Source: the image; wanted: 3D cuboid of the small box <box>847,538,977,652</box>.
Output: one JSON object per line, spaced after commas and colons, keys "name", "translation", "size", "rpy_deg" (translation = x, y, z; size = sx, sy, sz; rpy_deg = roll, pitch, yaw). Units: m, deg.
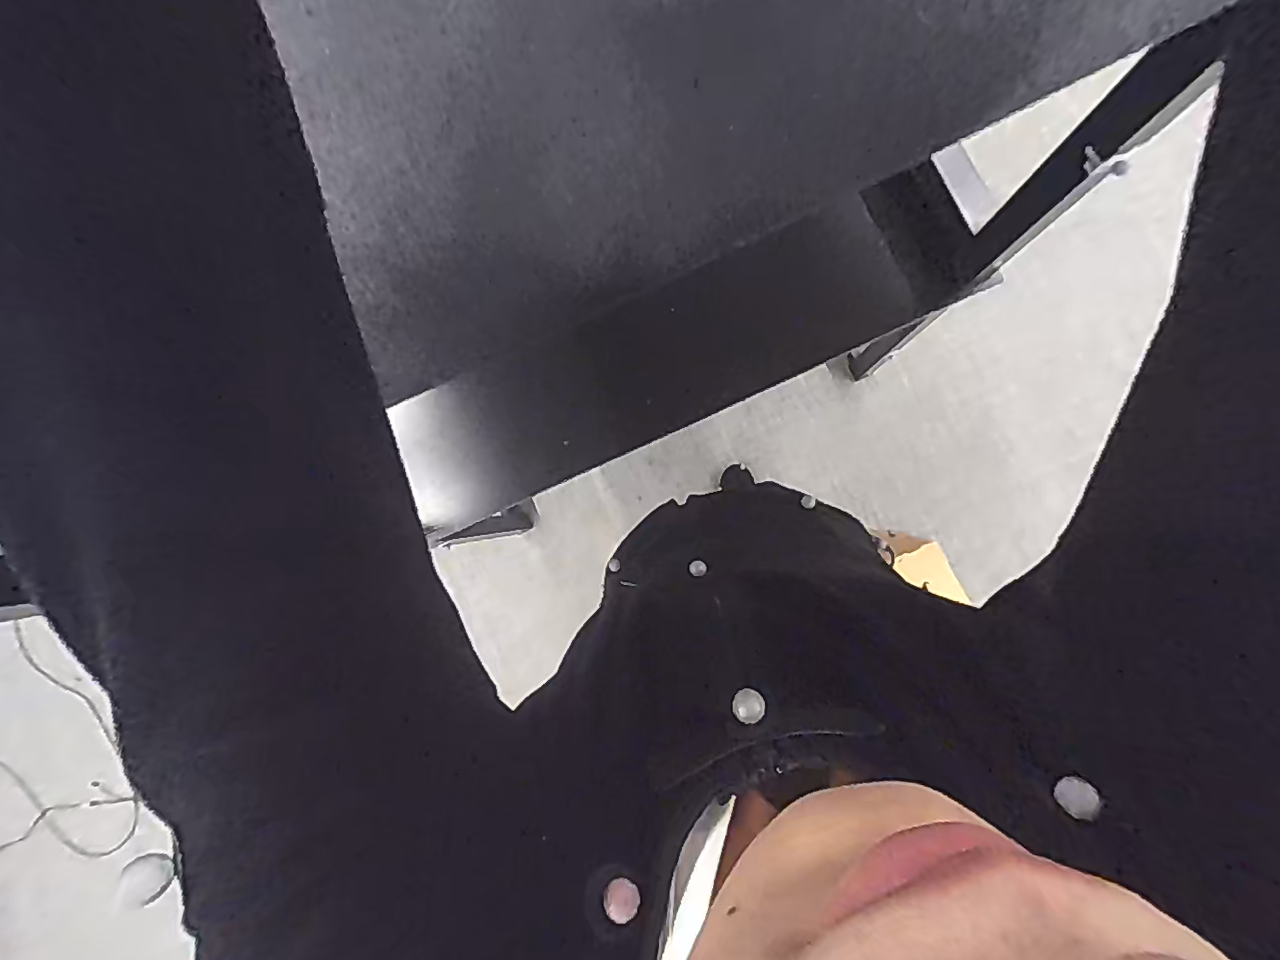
{"name": "small box", "translation": [0.578, 0.240, 1.174], "size": [0.168, 0.176, 0.179], "rpy_deg": [-28, 84, 7]}
